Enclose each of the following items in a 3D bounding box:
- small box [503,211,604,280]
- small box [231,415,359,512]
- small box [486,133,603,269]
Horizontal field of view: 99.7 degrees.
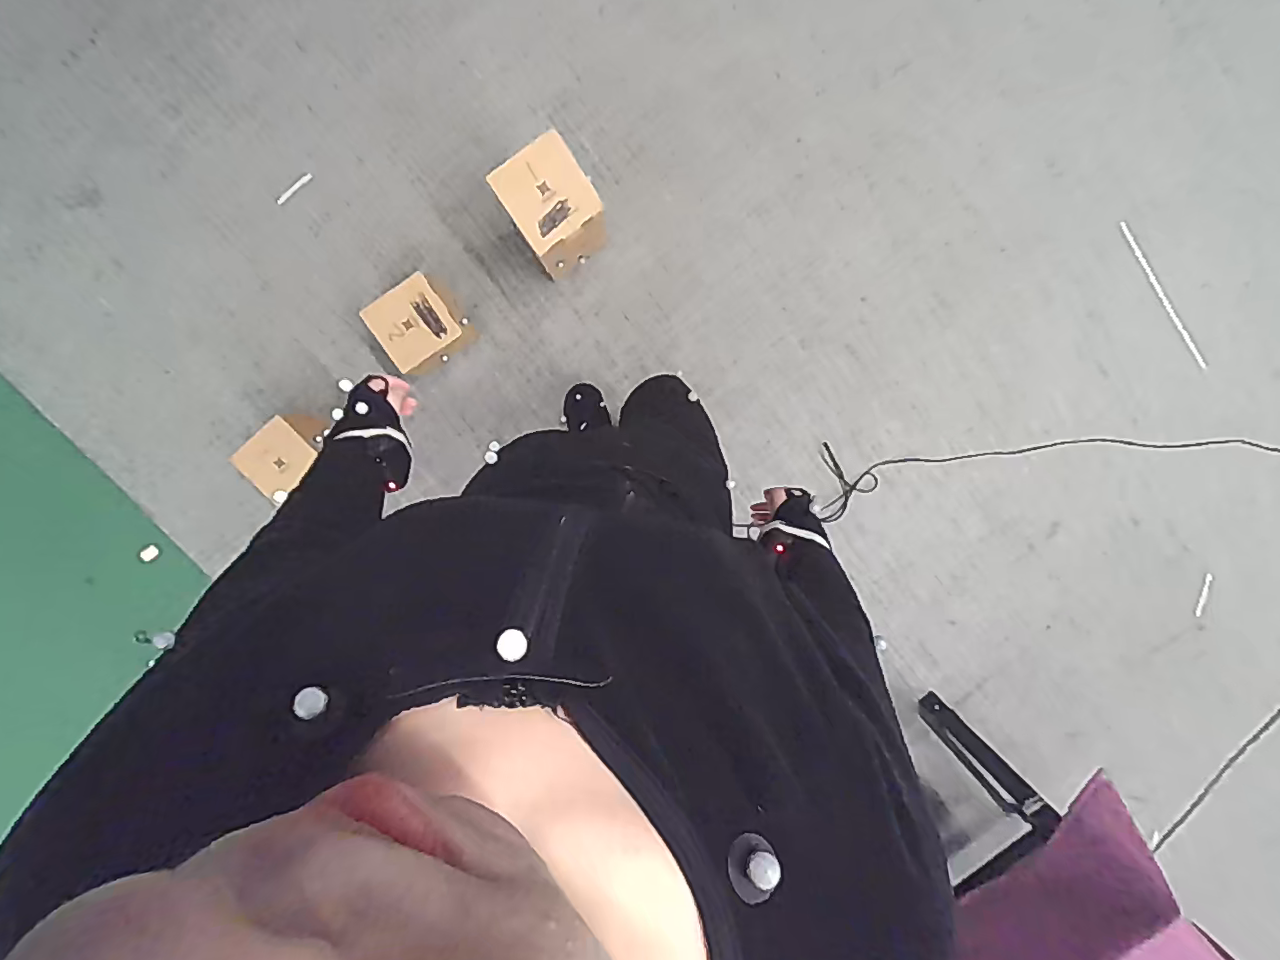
[{"bbox_3d":[-0.198,-0.599,1.290,0.168,0.176,0.179,-36,101,3],"label":"small box"},{"bbox_3d":[-0.853,-0.050,1.358,0.168,0.176,0.179,-40,99,4],"label":"small box"},{"bbox_3d":[-0.188,-0.565,1.129,0.168,0.176,0.179,-34,99,3],"label":"small box"}]
